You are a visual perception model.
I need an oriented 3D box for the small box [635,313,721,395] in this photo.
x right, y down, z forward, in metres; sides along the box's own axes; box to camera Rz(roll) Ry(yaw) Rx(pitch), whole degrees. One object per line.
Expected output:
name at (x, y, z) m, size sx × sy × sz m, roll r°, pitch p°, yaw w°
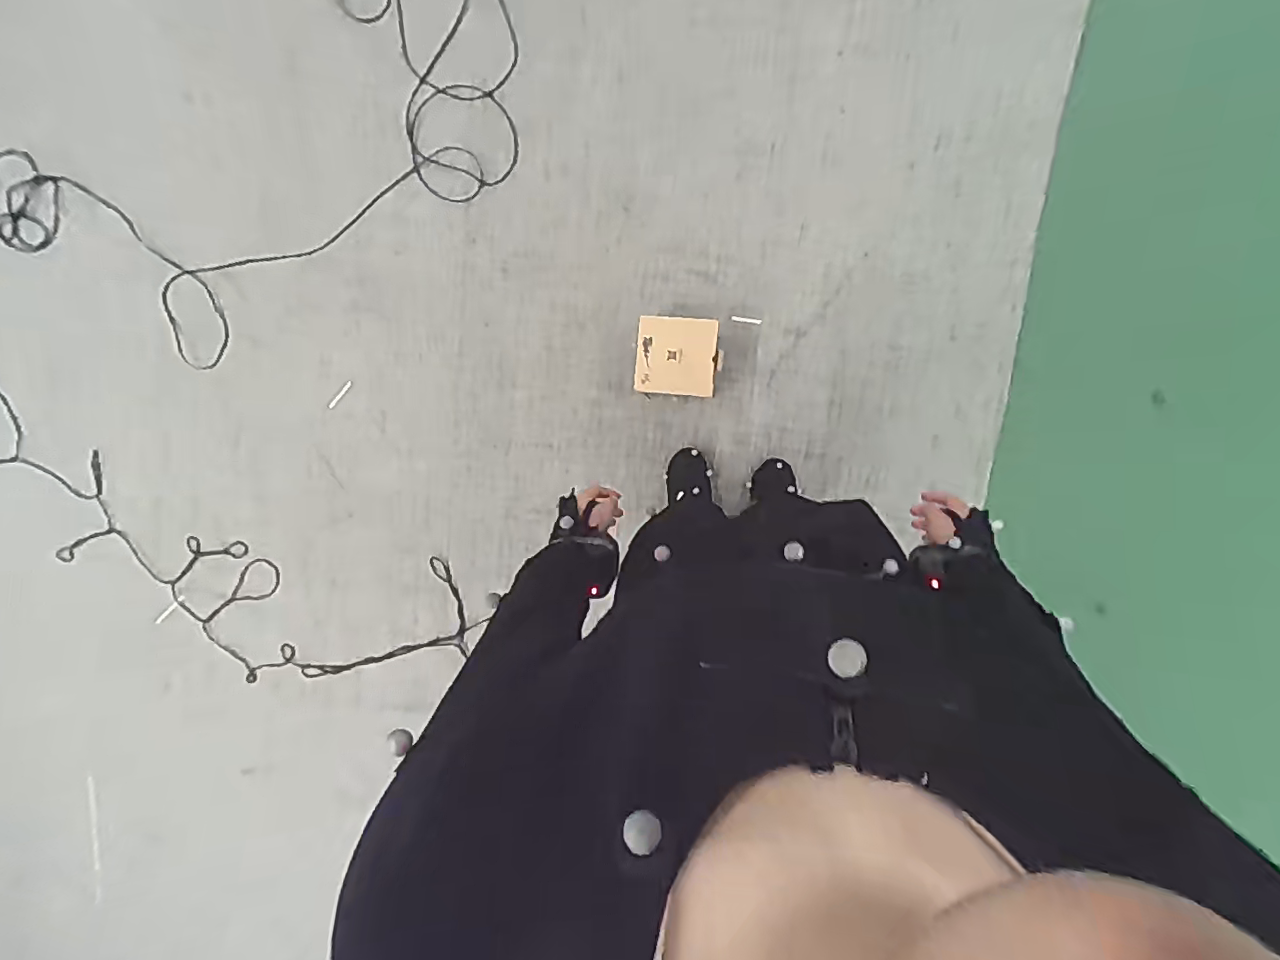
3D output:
small box at (0.091, -0.287, 1.252) m, size 0.179 × 0.176 × 0.168 m, roll 5°, pitch 99°, yaw 7°
